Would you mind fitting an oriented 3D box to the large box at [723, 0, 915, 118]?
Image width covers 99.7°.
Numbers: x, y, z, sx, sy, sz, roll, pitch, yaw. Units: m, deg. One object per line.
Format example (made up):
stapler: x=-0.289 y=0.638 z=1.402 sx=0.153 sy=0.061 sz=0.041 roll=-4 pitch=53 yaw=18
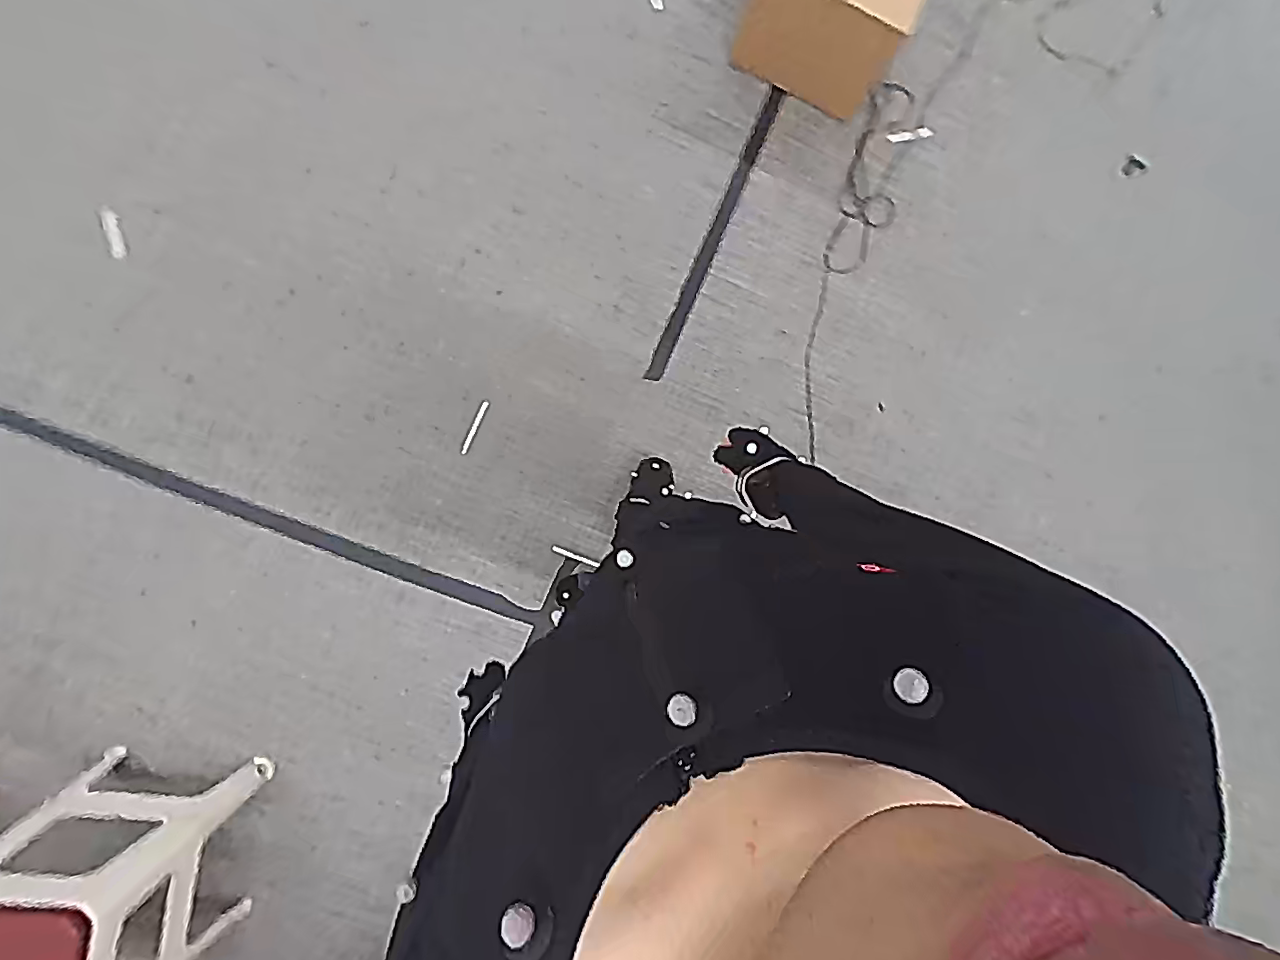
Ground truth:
large box: x=0.492 y=-1.291 z=1.458 sx=0.408 sy=0.320 sz=0.320 roll=23 pitch=85 yaw=-6
